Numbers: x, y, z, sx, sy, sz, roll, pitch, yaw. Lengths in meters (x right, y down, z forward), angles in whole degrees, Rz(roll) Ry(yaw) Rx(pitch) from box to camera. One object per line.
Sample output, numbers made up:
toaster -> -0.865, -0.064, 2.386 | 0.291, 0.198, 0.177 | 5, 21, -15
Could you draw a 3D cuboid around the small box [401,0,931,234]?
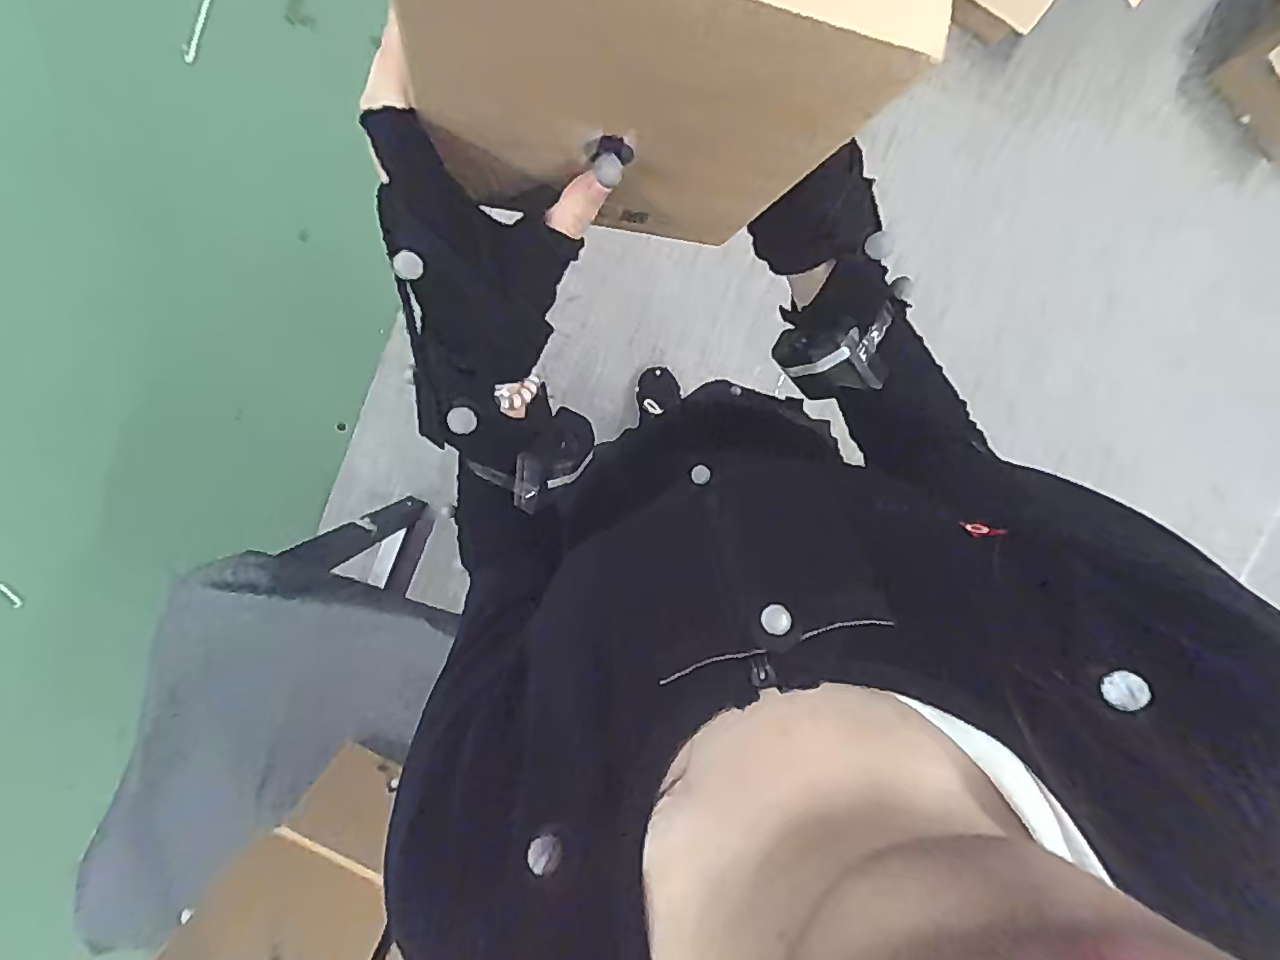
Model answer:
small box -> -0.002, -0.228, 0.228 | 0.168, 0.176, 0.179 | 2, 93, -16
